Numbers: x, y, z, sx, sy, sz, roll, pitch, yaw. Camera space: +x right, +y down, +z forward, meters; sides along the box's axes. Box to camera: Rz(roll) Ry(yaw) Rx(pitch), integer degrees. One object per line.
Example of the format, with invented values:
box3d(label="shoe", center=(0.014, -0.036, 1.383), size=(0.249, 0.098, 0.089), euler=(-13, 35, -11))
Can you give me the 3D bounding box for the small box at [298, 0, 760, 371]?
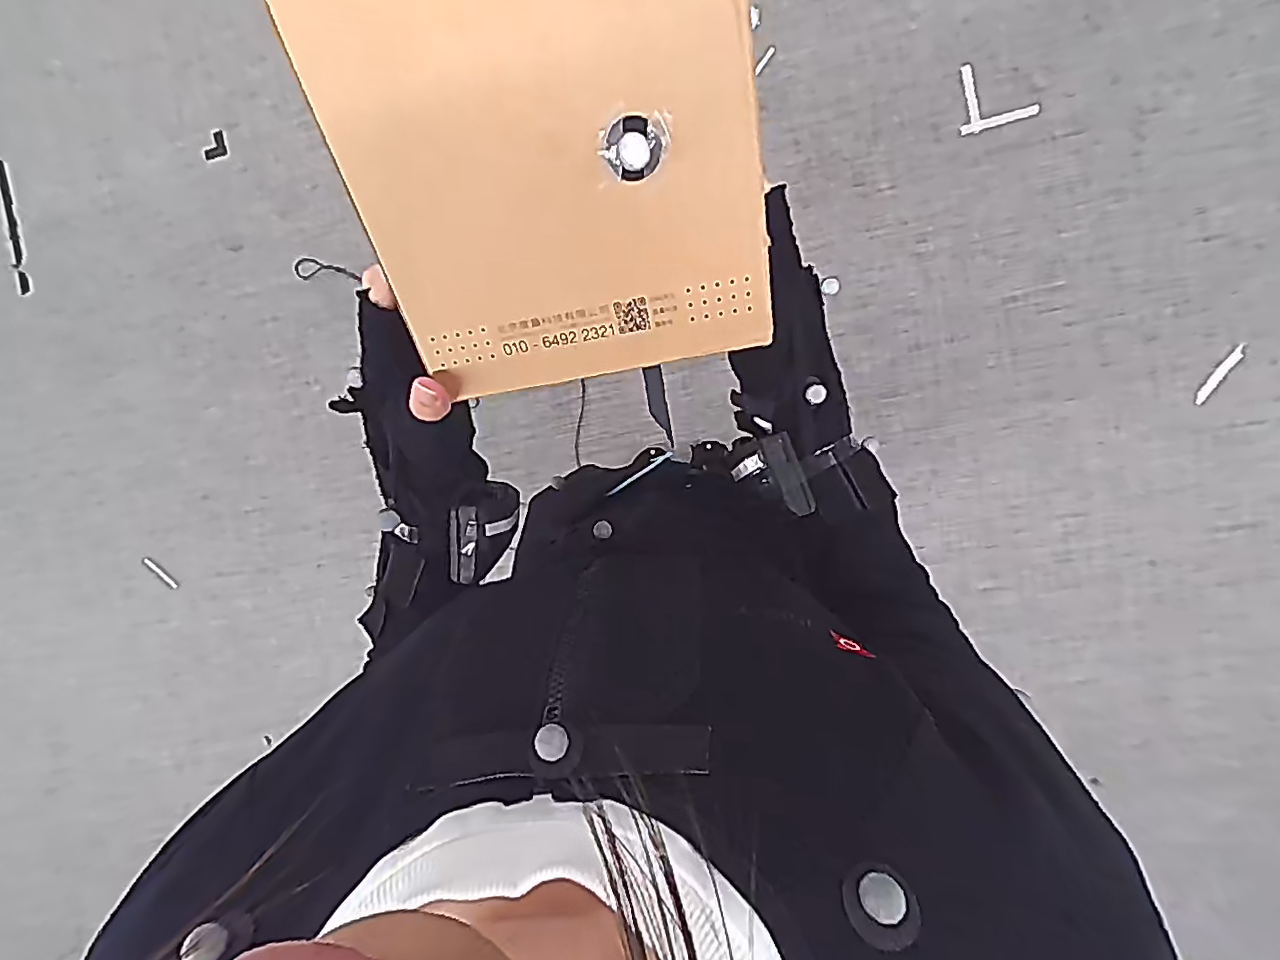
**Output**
box3d(label="small box", center=(-0.029, -0.170, 0.302), size=(0.168, 0.179, 0.176), euler=(-7, 124, 9))
